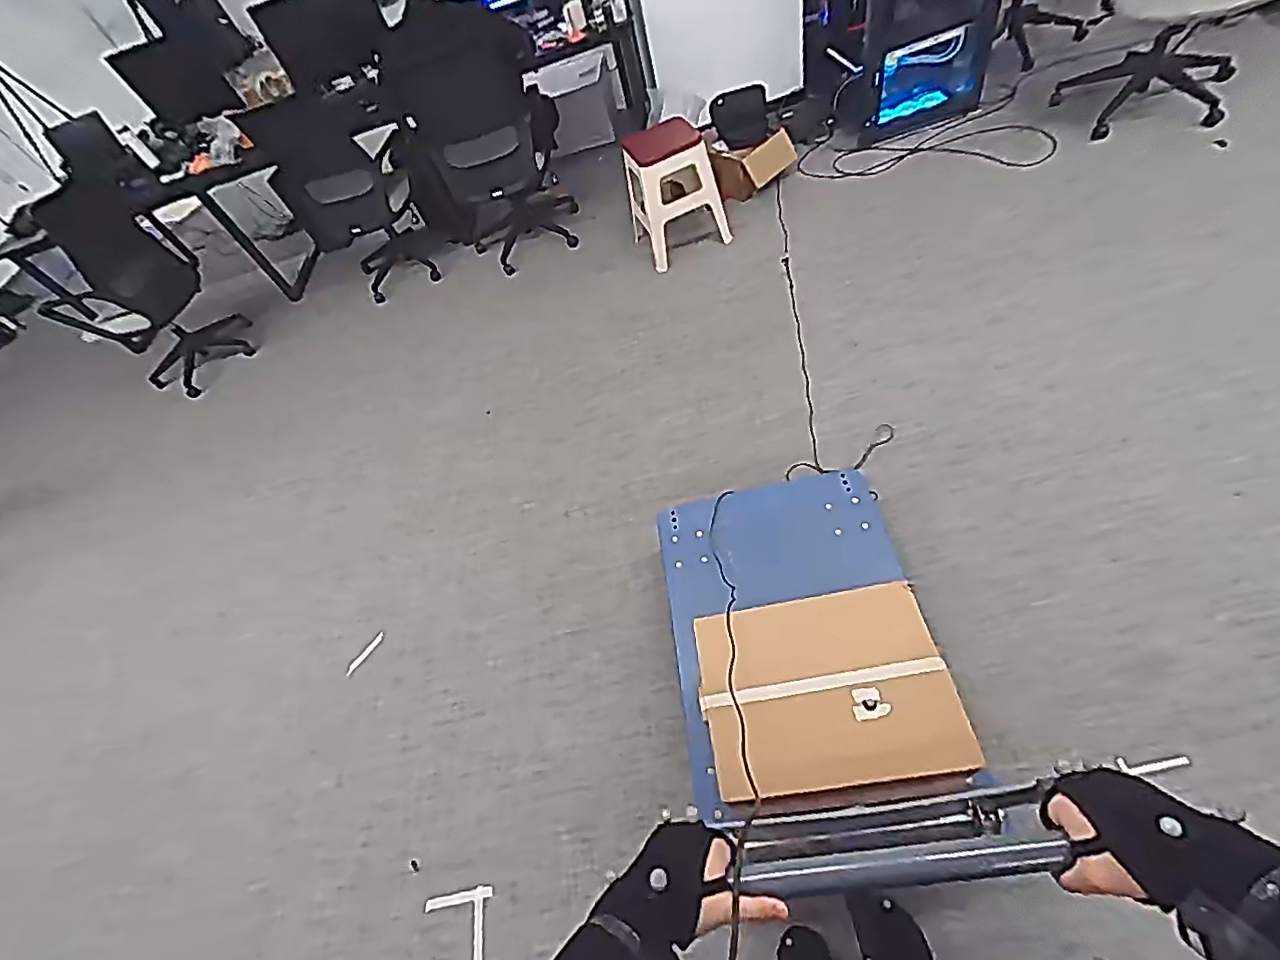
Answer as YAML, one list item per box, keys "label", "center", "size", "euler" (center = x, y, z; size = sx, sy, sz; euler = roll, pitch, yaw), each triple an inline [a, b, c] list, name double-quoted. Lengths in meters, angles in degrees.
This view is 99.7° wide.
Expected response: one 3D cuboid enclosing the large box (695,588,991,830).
- label: "large box"
  center: [0.344, 0.443, 1.020]
  size: [0.408, 0.320, 0.320]
  euler: [-12, 53, 8]
